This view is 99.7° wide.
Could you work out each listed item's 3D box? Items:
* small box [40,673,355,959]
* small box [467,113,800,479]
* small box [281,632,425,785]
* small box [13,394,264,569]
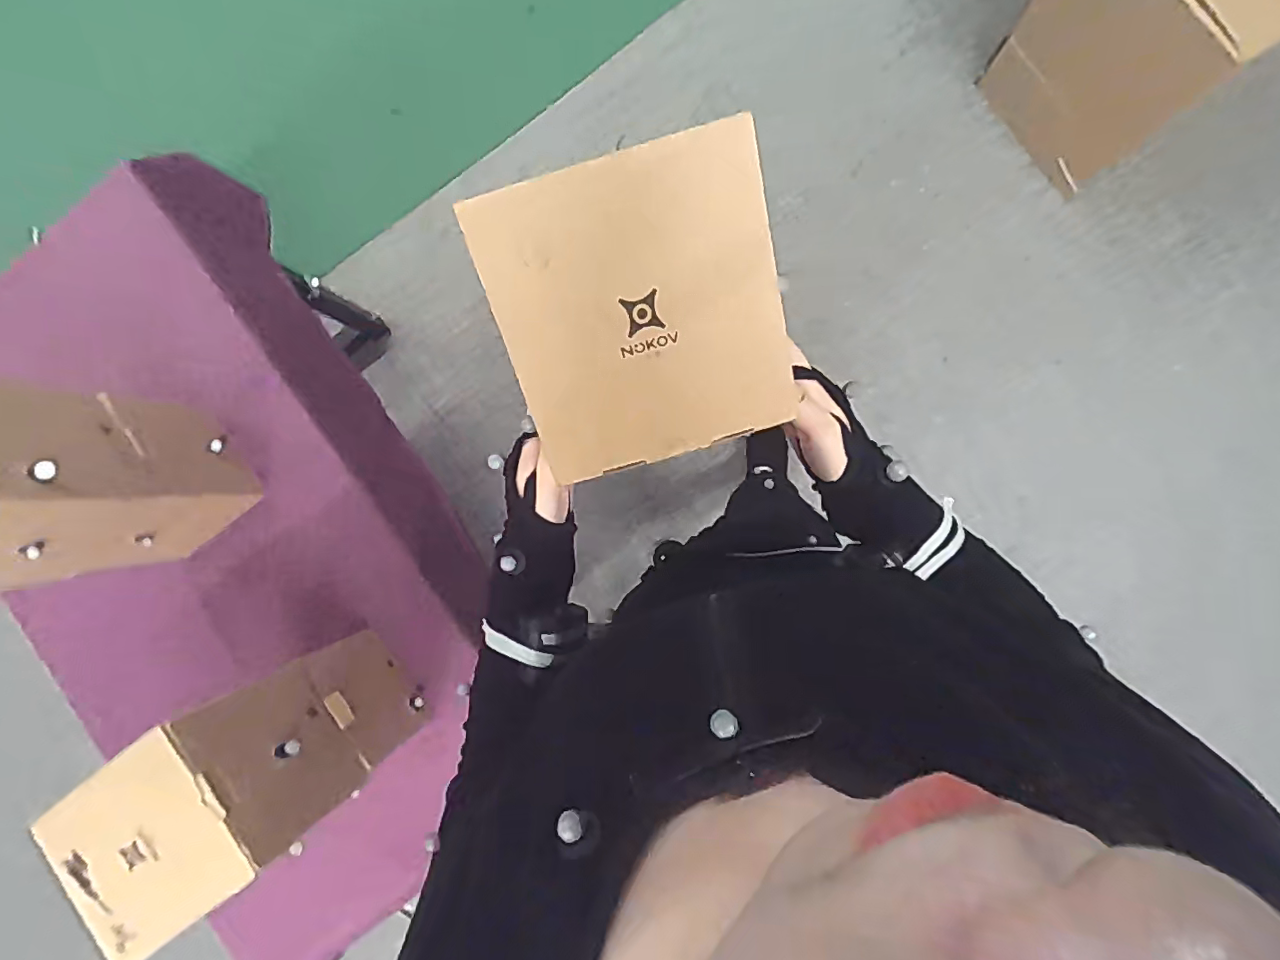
[{"bbox_3d":[-0.445,0.339,0.580,0.179,0.176,0.168,-37,85,4],"label":"small box"},{"bbox_3d":[-0.002,-0.129,0.392,0.168,0.176,0.179,-16,116,3],"label":"small box"},{"bbox_3d":[-0.427,0.337,0.744,0.179,0.176,0.168,-39,85,6],"label":"small box"},{"bbox_3d":[-0.703,0.004,0.777,0.179,0.176,0.168,-36,86,5],"label":"small box"}]
